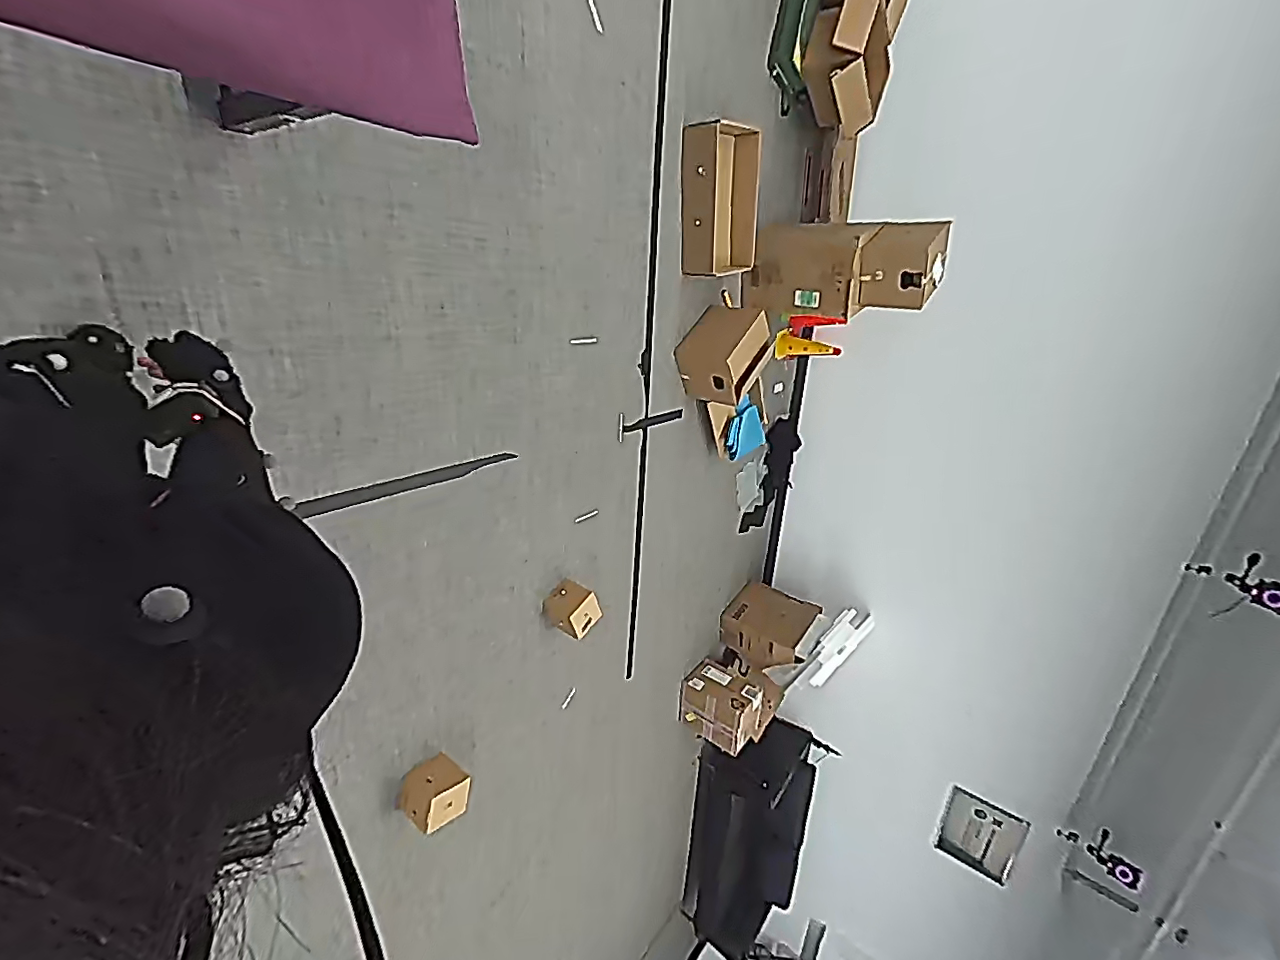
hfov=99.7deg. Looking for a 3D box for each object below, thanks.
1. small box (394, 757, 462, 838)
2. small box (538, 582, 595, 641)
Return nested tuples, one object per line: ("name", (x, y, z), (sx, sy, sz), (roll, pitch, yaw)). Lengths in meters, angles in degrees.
("small box", (-0.813, 1.205, 2.065), (0.179, 0.176, 0.168), (-4, 110, -56))
("small box", (-0.334, 0.594, 2.464), (0.168, 0.176, 0.179), (-45, 138, -35))
